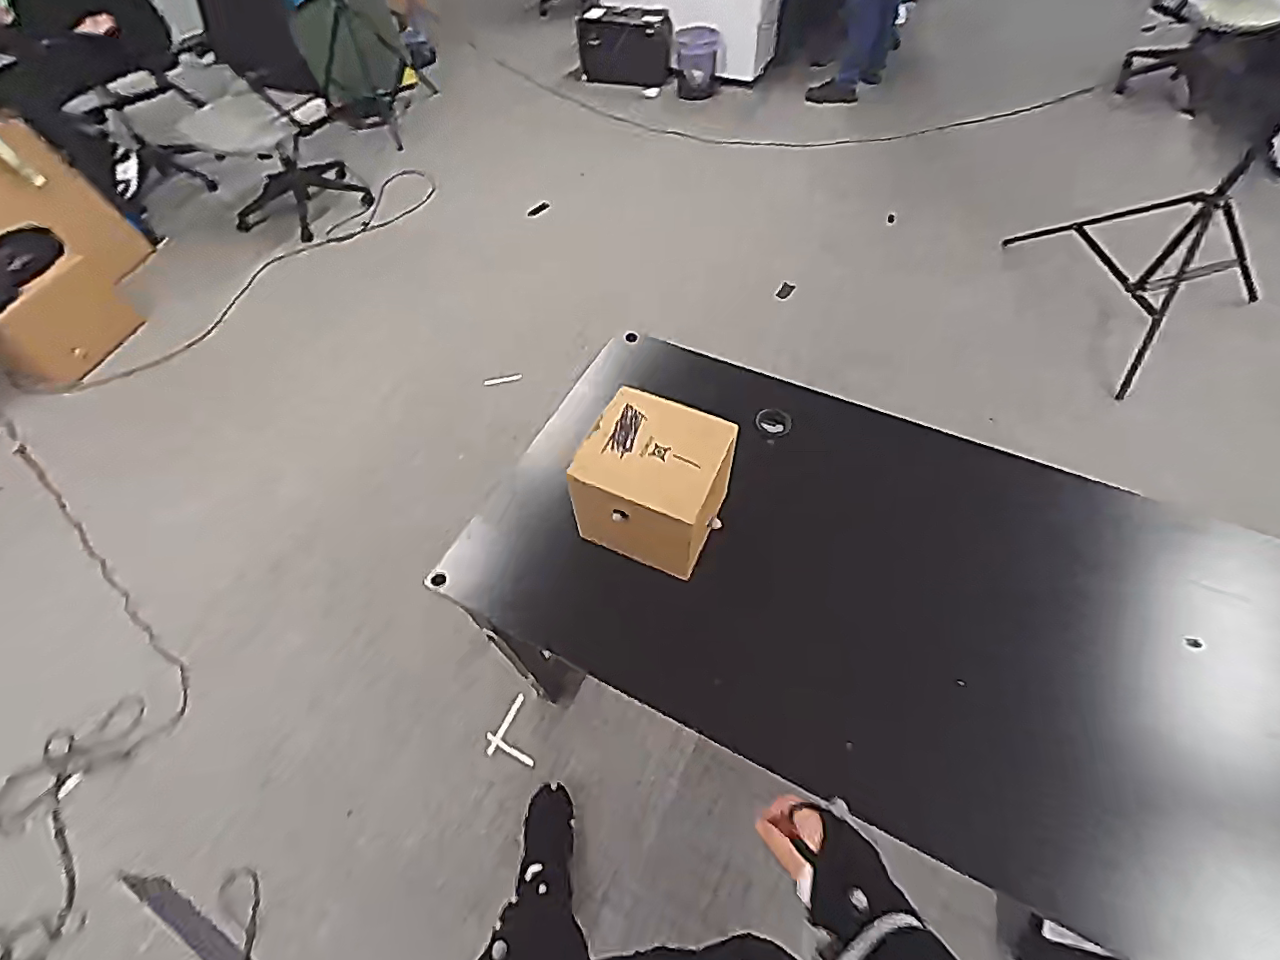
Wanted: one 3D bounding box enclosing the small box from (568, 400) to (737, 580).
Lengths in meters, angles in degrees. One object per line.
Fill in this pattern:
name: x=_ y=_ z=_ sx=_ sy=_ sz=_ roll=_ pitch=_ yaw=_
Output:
small box: x=0.021 y=0.019 z=0.772 sx=0.179 sy=0.176 sz=0.168 roll=20 pitch=59 yaw=15
